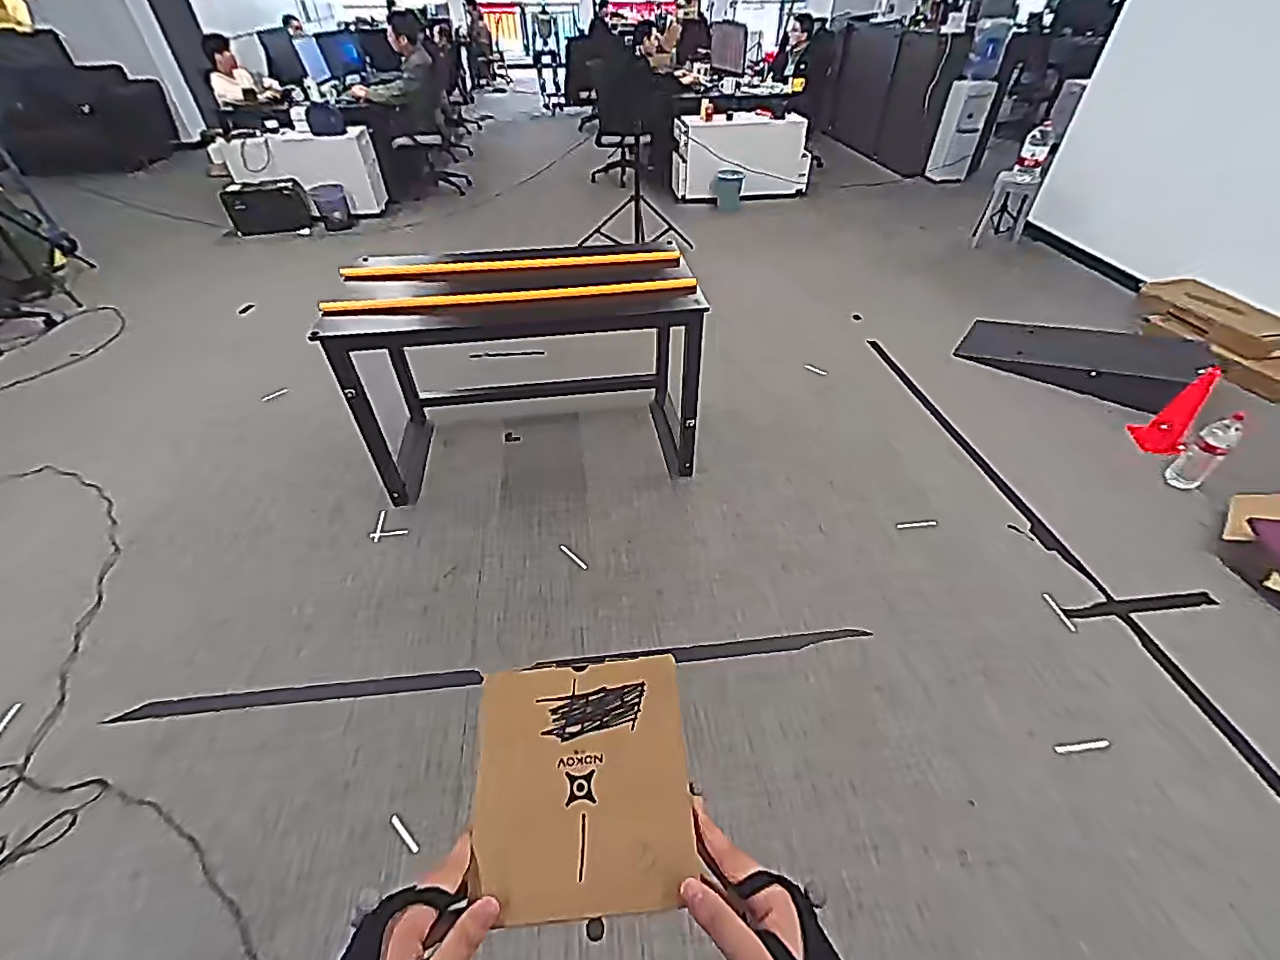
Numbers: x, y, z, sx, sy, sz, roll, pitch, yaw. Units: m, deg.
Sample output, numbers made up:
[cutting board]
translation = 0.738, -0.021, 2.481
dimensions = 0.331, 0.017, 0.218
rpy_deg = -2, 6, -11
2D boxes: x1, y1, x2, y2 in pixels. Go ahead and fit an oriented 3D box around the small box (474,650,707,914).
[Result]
[small box]
translation = -0.037, 0.274, 0.488
dimensions = 0.168, 0.176, 0.179
rpy_deg = -6, 53, 0
